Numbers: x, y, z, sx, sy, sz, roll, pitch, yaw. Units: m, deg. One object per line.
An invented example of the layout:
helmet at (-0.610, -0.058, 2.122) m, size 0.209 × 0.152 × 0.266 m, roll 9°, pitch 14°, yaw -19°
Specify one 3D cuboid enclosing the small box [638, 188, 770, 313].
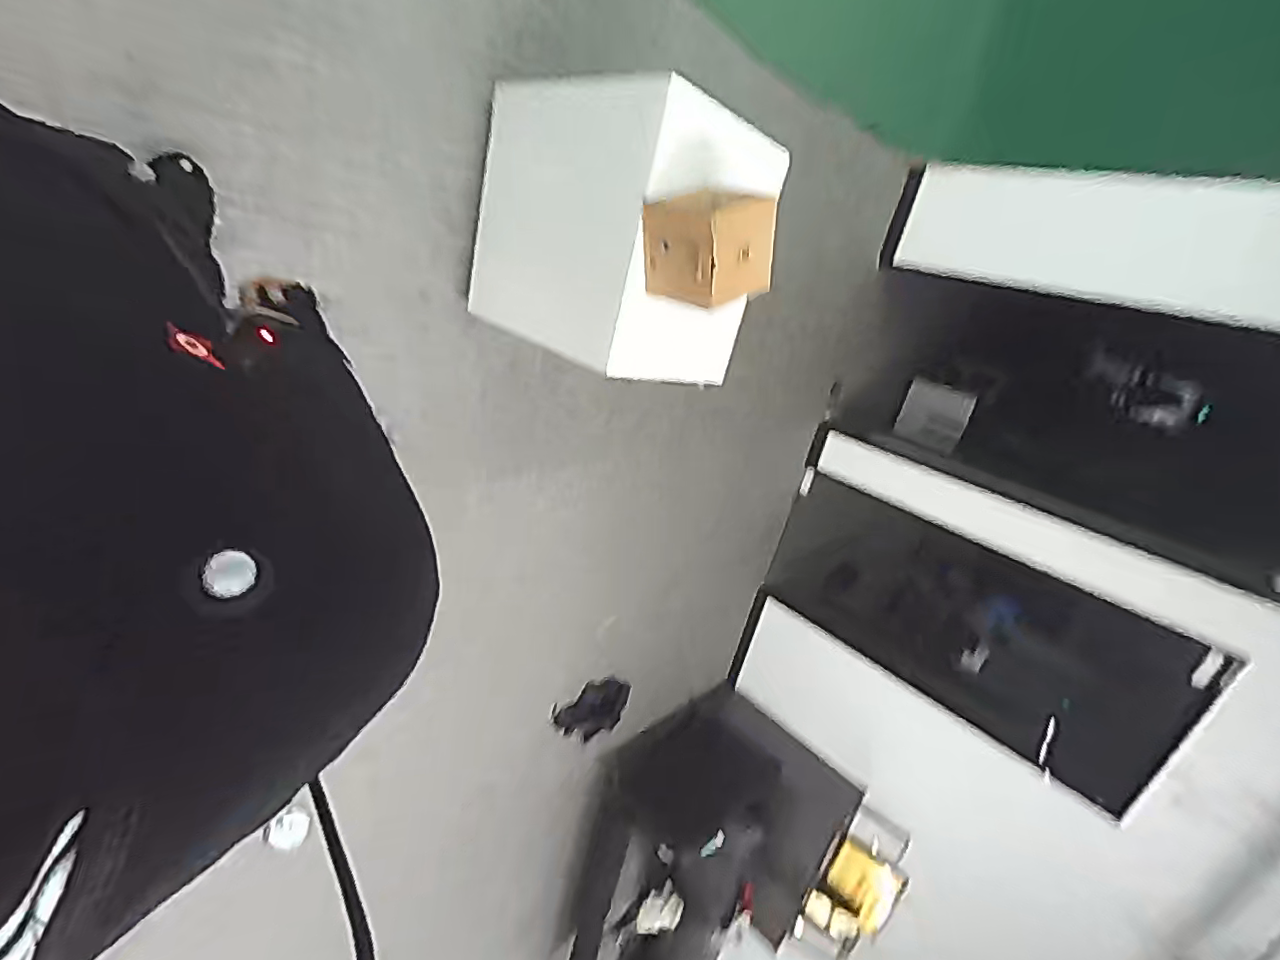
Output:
small box at (0.116, -0.432, 1.005) m, size 0.179 × 0.176 × 0.168 m, roll -33°, pitch 136°, yaw -32°
